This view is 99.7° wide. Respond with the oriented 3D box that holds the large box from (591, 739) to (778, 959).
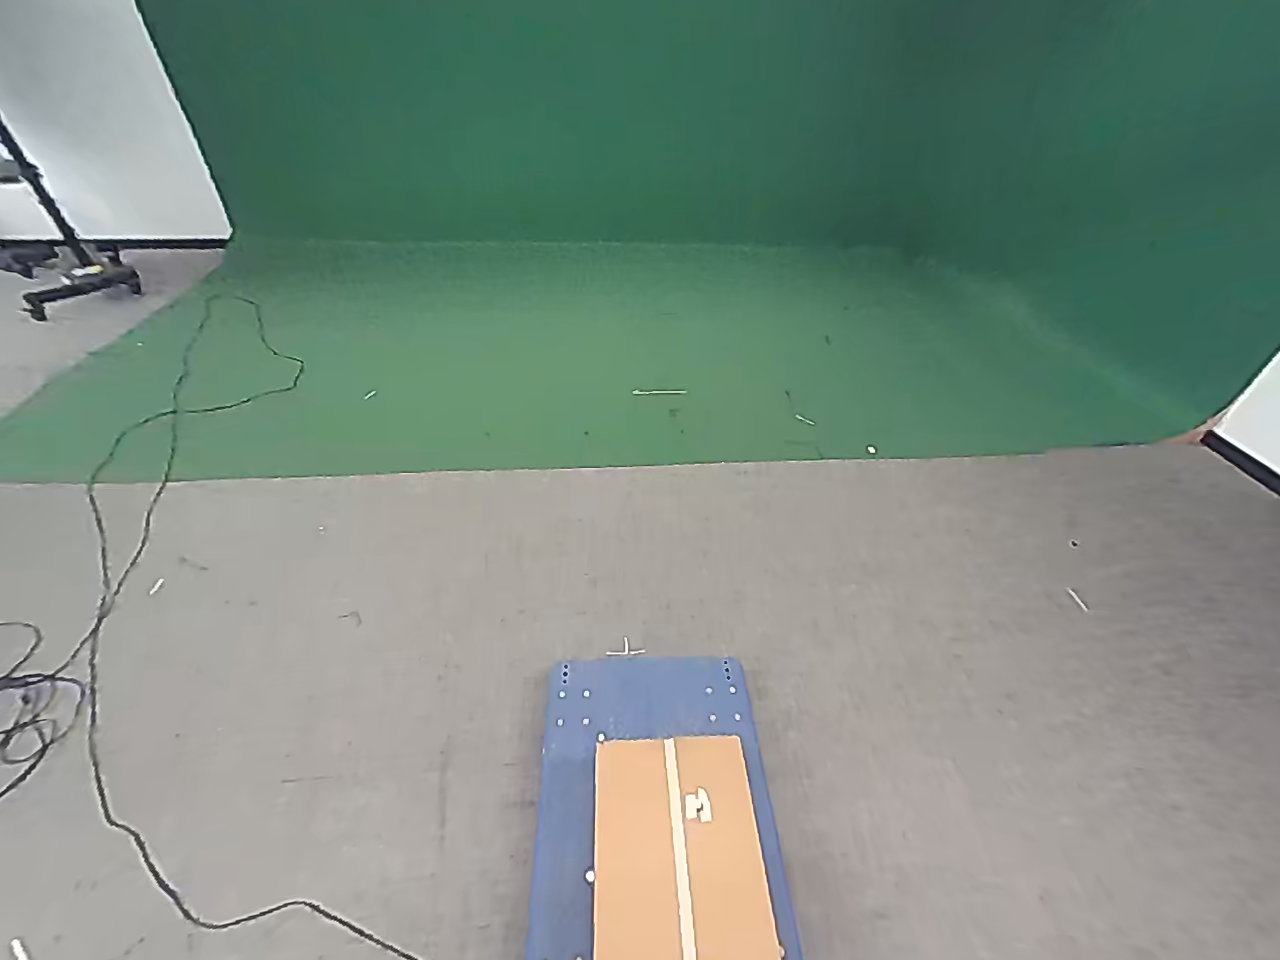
[{"bbox_3d":[0.064,0.811,1.117,0.320,0.320,0.408,0,40,-4],"label":"large box"}]
